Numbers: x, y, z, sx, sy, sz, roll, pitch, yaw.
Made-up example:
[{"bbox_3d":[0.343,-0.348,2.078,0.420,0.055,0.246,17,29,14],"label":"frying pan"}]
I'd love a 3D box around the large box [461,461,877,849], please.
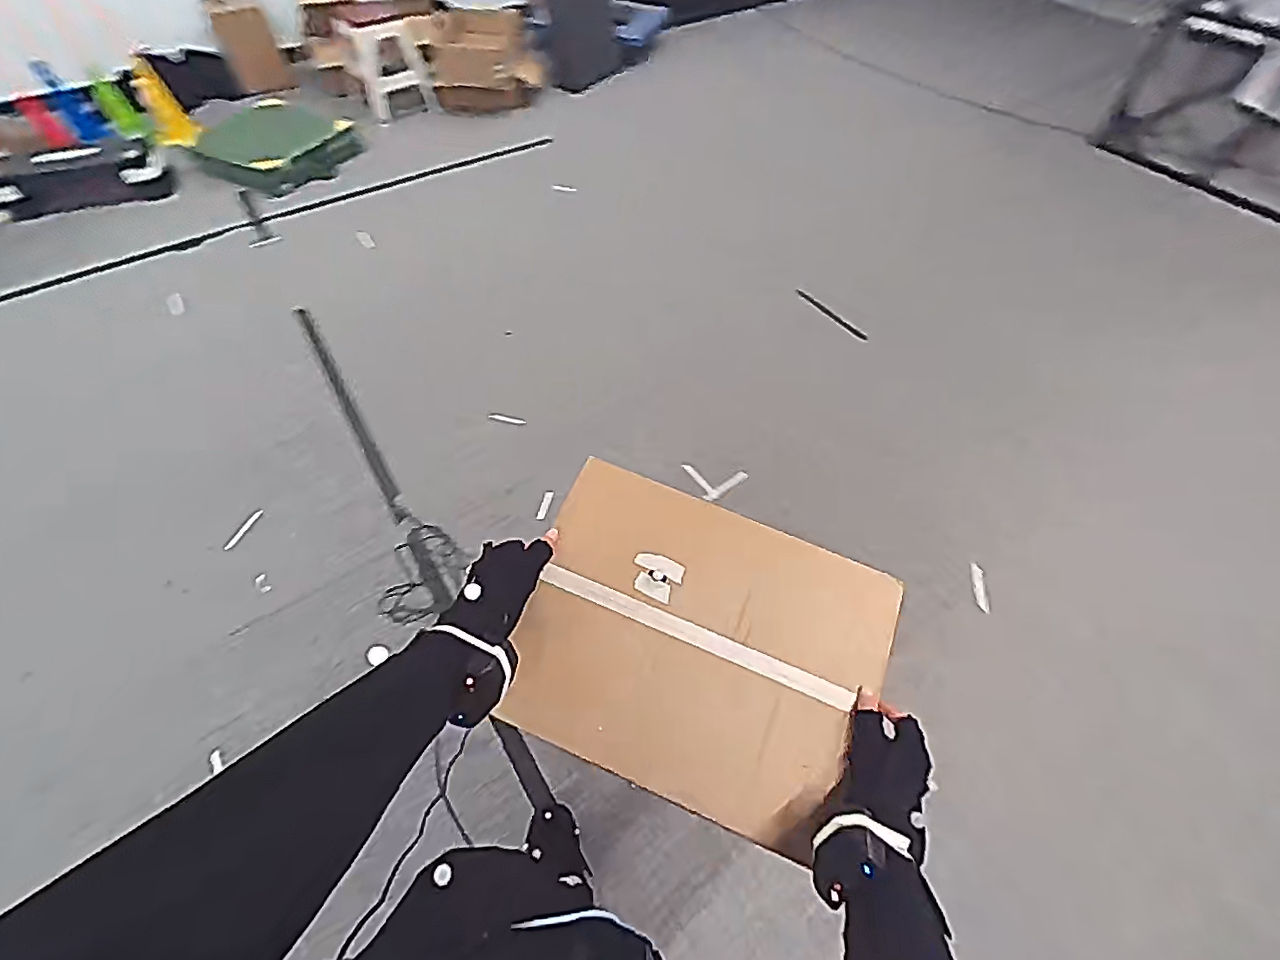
[{"bbox_3d":[0.045,0.228,0.746,0.408,0.320,0.320,21,67,8],"label":"large box"}]
